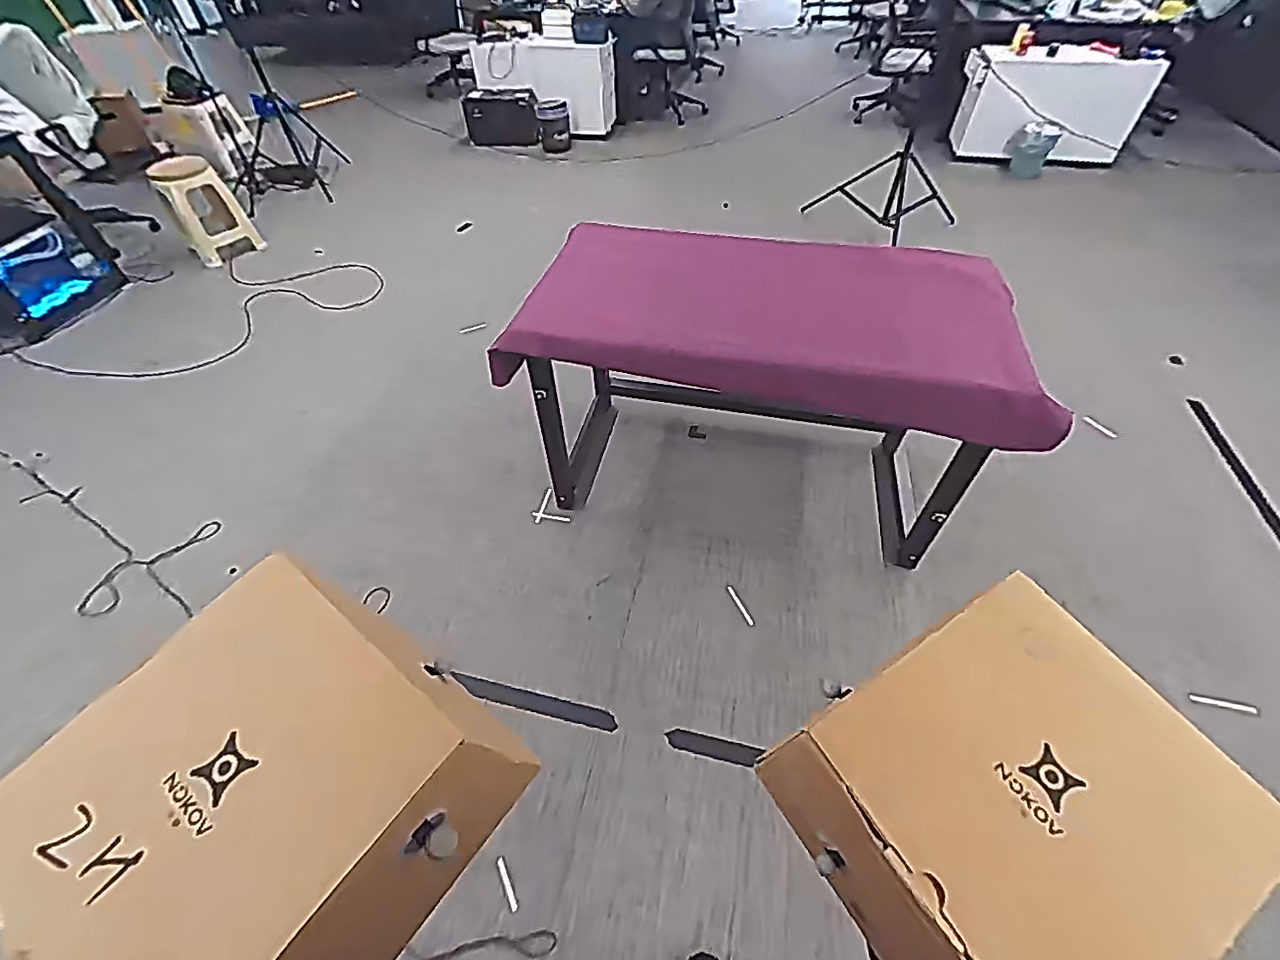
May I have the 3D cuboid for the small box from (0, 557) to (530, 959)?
[{"bbox_3d":[-0.185,0.184,0.322,0.168,0.176,0.179,32,66,22],"label":"small box"}]

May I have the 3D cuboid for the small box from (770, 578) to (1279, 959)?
[{"bbox_3d":[0.208,0.197,0.344,0.179,0.176,0.168,-29,61,-16],"label":"small box"}]
